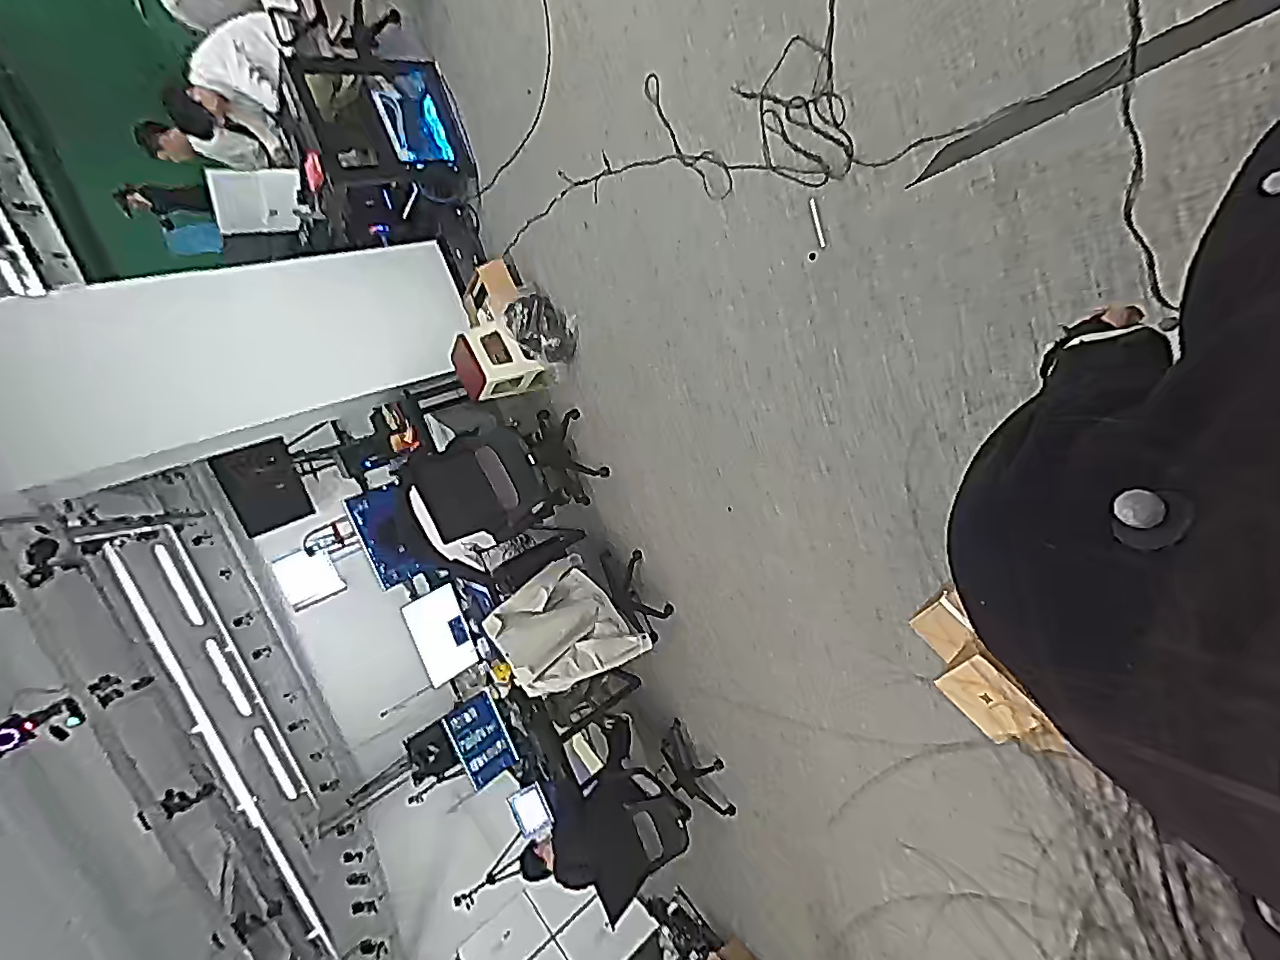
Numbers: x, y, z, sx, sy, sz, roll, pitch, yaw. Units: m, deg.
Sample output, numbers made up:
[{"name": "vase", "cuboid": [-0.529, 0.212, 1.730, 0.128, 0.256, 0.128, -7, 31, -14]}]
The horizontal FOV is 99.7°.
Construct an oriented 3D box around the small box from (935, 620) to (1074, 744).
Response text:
[{"name": "small box", "cuboid": [0.829, 0.455, 1.231, 0.179, 0.176, 0.168, 48, 143, 26]}]
